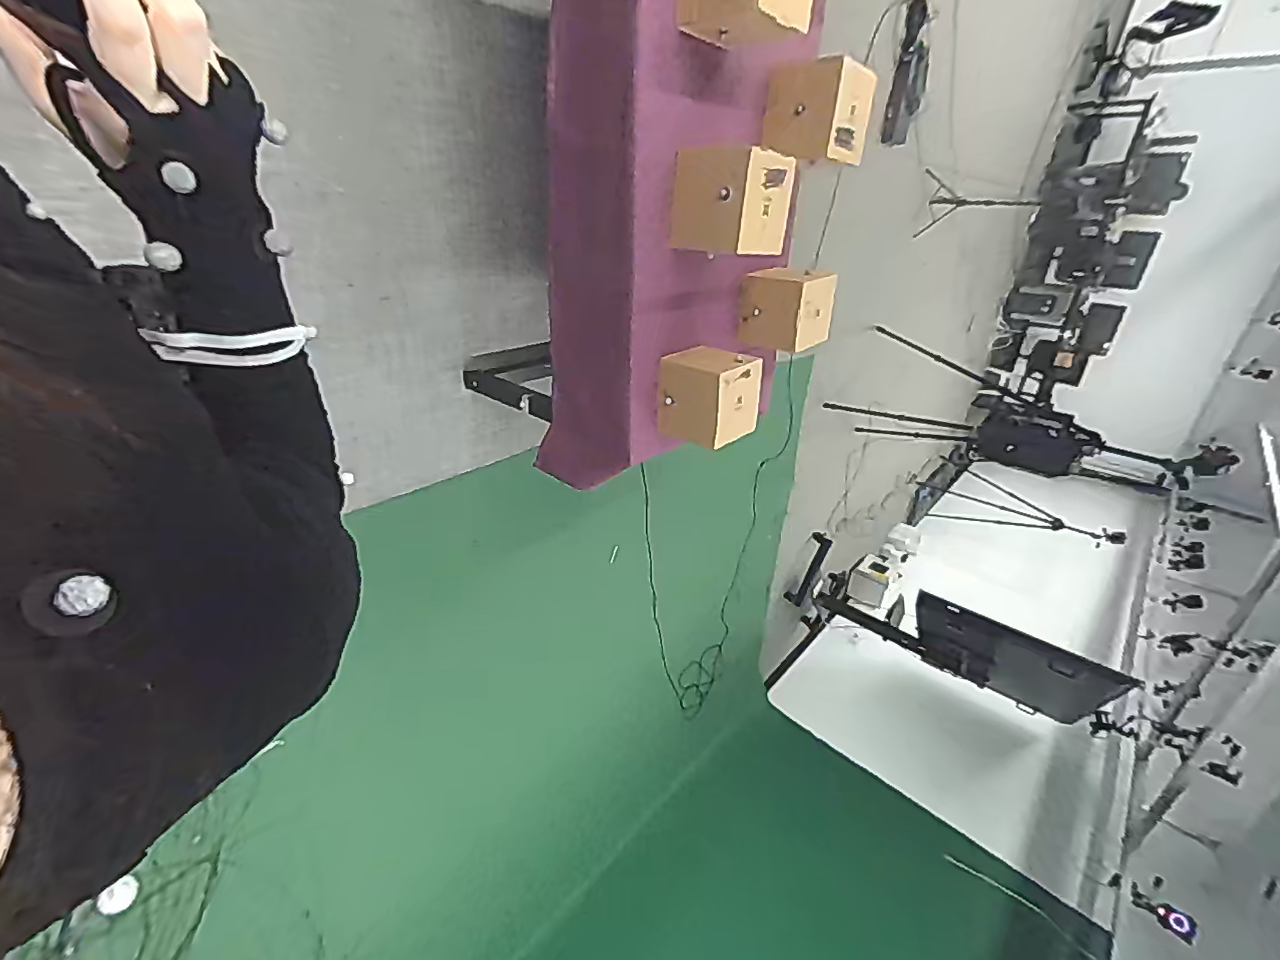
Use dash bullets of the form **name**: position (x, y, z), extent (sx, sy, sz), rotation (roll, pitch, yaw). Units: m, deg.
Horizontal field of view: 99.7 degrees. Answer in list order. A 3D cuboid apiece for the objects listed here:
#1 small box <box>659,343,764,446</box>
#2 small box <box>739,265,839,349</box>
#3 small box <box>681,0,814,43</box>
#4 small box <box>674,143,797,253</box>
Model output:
- **small box**: position (0.159, -0.202, 1.238), extent (0.168, 0.176, 0.179), rotation (-27, 129, -41)
- **small box**: position (0.373, -0.442, 1.363), extent (0.179, 0.176, 0.168), rotation (-28, 129, -39)
- **small box**: position (0.184, -0.861, 0.897), extent (0.168, 0.176, 0.179), rotation (-24, 129, -42)
- **small box**: position (0.184, -0.554, 1.071), extent (0.168, 0.176, 0.179), rotation (-22, 127, -43)
